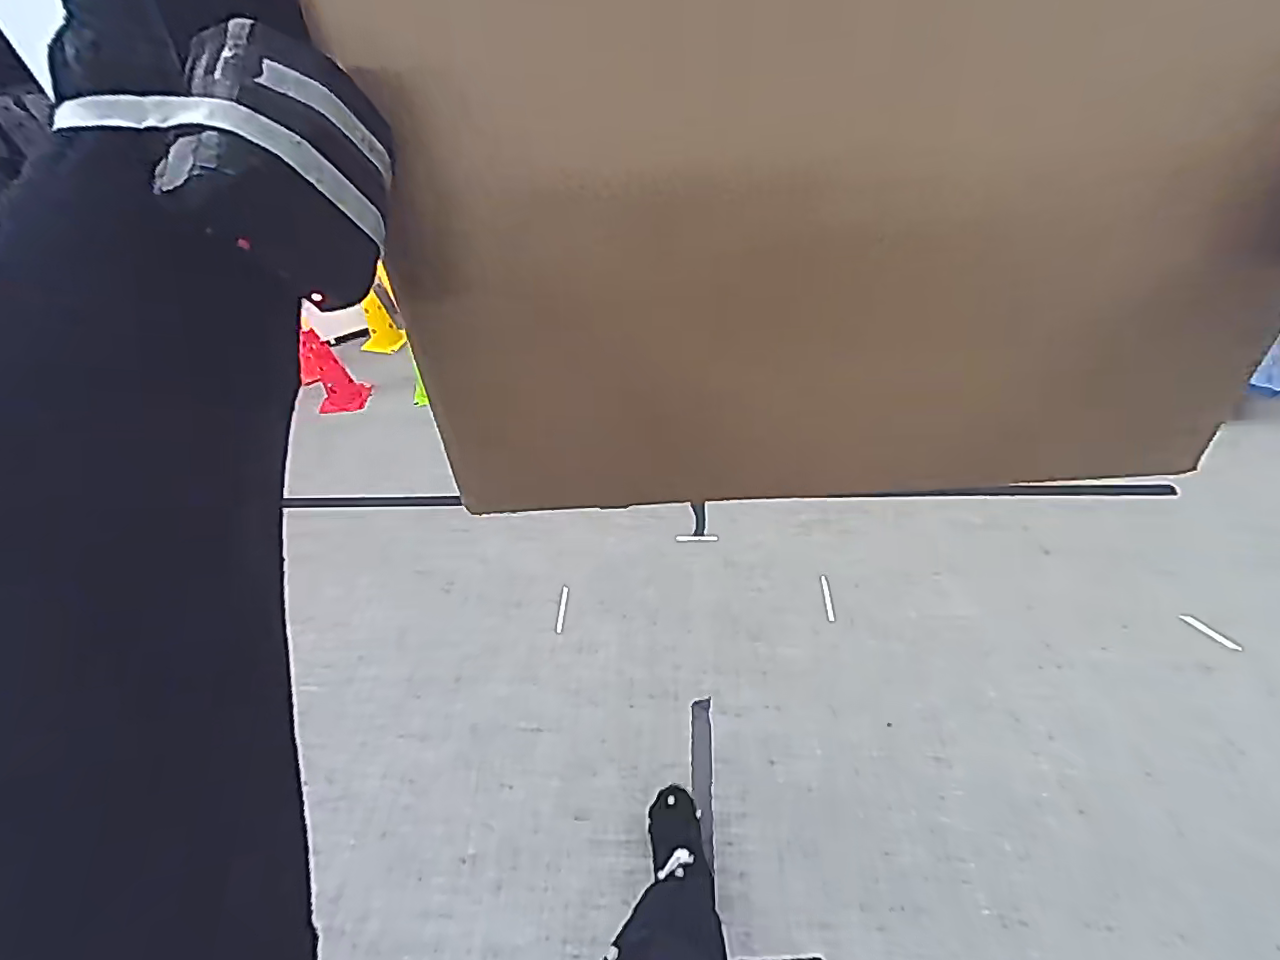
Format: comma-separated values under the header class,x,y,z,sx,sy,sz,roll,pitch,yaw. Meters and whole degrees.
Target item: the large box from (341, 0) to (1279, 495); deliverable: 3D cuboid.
class,x,y,z,sx,sy,sz,roll,pitch,yaw
large box,0.087,-0.208,0.353,0.408,0.320,0.320,-3,36,1
